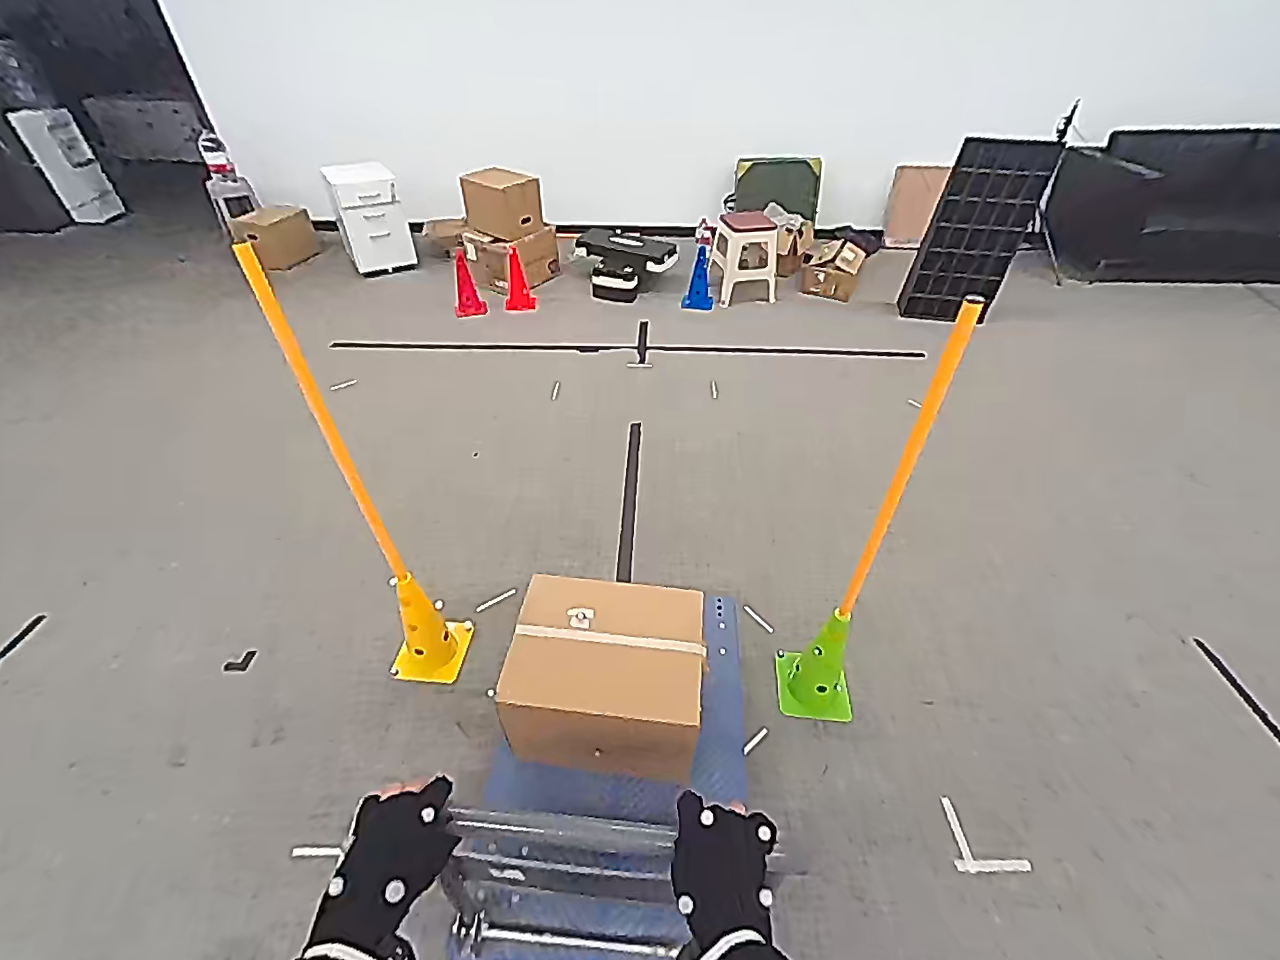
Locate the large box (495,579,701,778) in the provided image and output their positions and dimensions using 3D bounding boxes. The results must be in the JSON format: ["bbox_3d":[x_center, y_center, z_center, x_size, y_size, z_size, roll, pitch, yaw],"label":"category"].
[{"bbox_3d":[-0.070,0.461,1.257,0.408,0.320,0.320,5,42,5],"label":"large box"}]

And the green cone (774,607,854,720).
[{"bbox_3d":[0.505,0.469,1.471,0.202,0.368,0.200,5,42,3],"label":"green cone"}]
